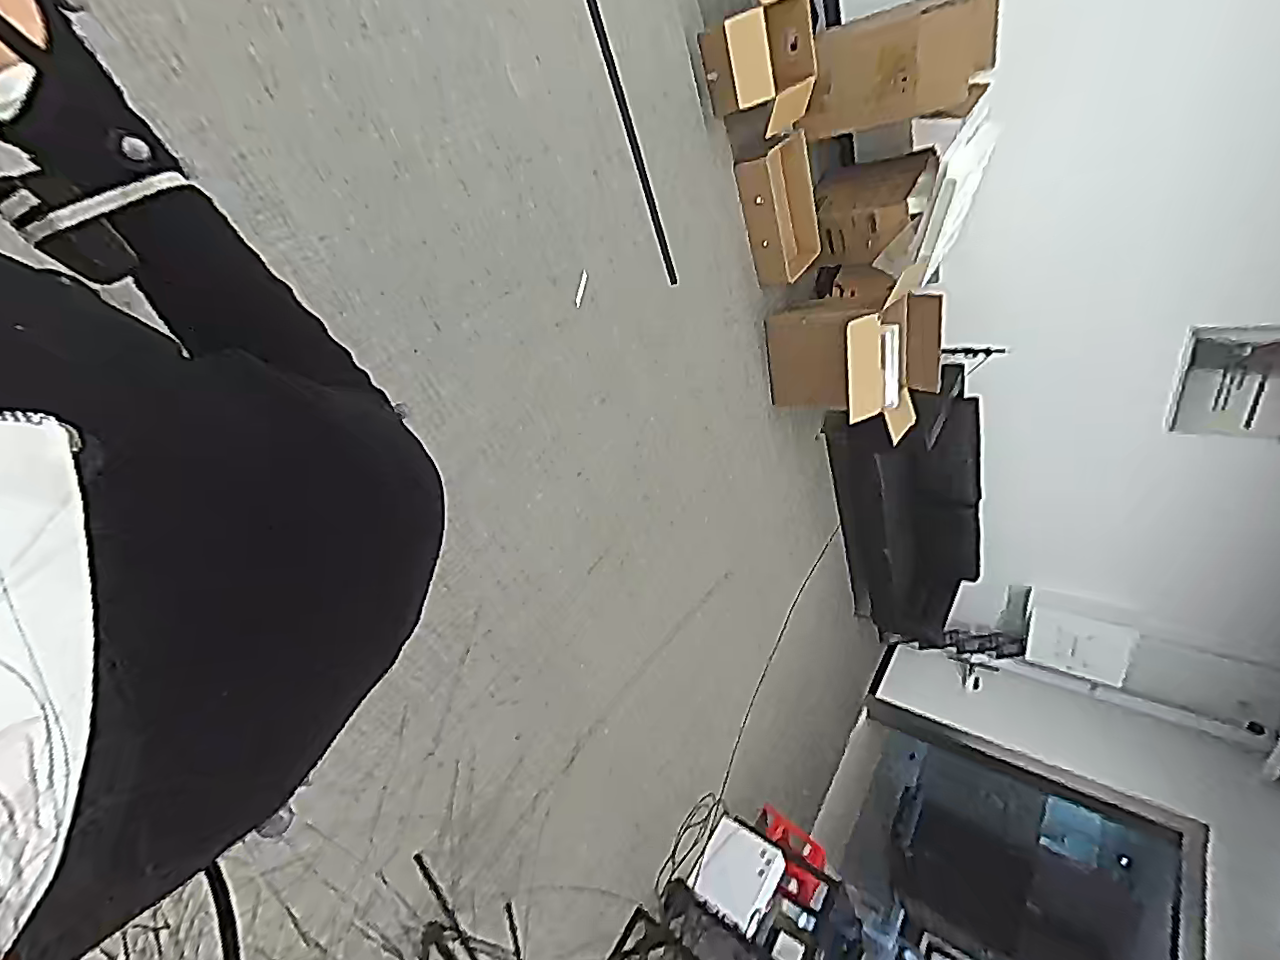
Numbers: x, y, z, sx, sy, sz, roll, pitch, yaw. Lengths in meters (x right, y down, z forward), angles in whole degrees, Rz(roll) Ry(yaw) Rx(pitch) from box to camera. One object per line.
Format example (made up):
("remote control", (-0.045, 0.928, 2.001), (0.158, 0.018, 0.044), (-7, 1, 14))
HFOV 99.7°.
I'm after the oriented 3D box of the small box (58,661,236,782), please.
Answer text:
("small box", (-0.906, 0.462, 0.995), (0.179, 0.176, 0.168), (-48, 132, -33))
